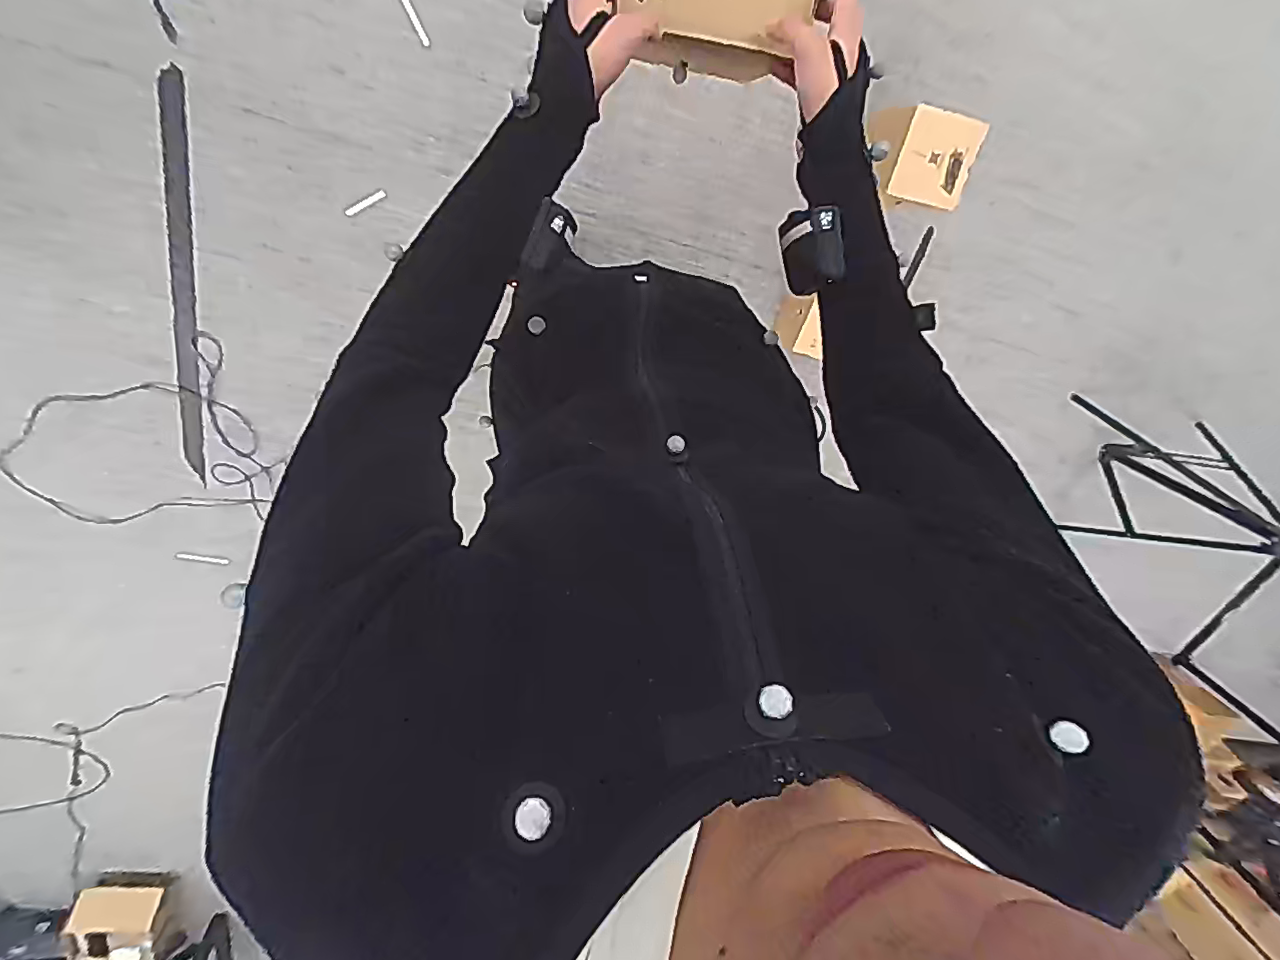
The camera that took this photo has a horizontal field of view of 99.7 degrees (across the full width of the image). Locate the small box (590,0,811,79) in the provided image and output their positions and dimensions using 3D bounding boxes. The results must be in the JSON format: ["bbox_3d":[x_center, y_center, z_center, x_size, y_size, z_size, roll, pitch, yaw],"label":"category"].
[{"bbox_3d":[0.055,-0.490,0.498,0.179,0.176,0.168,3,120,-13],"label":"small box"}]

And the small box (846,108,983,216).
[{"bbox_3d":[0.599,-0.702,1.203,0.179,0.176,0.168,7,117,-13],"label":"small box"}]

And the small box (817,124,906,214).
[{"bbox_3d":[0.577,-0.775,1.348,0.179,0.176,0.168,5,118,-13],"label":"small box"}]

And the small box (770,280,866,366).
[{"bbox_3d":[0.491,-0.446,1.521,0.168,0.176,0.179,12,118,-16],"label":"small box"}]
